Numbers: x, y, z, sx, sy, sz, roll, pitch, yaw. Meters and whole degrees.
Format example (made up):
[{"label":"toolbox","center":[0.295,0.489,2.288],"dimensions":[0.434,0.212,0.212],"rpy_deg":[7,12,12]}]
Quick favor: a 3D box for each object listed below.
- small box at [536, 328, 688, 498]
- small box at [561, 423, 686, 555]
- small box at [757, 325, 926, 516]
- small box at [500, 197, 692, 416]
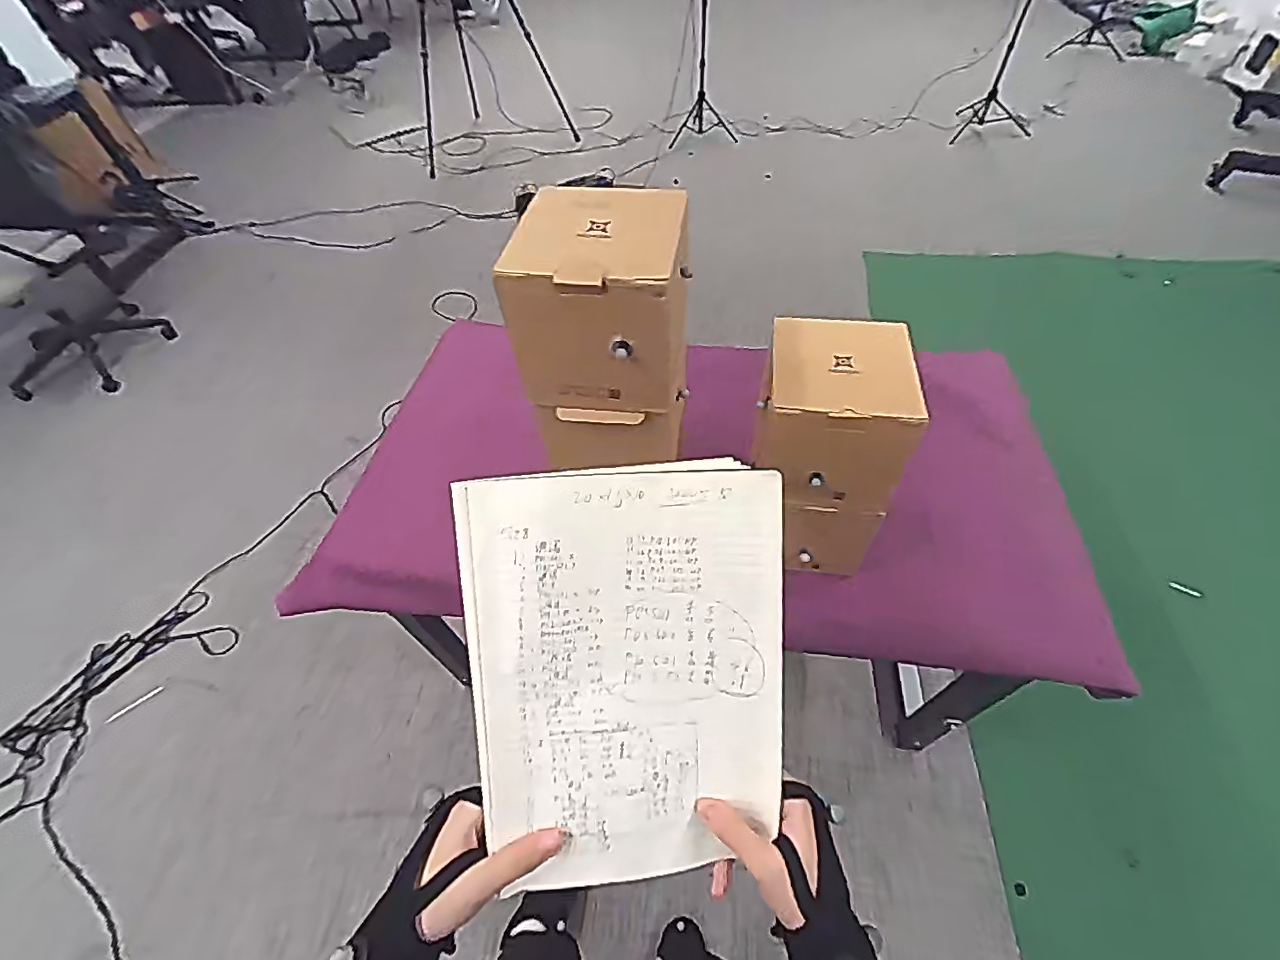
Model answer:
[{"label":"small box","center":[-0.025,-0.094,0.736],"dimensions":[0.168,0.176,0.179],"rpy_deg":[5,51,8]},{"label":"small box","center":[-0.016,0.004,0.869],"dimensions":[0.168,0.176,0.179],"rpy_deg":[5,53,8]},{"label":"small box","center":[0.246,-0.077,0.706],"dimensions":[0.168,0.176,0.179],"rpy_deg":[5,52,8]},{"label":"small box","center":[-0.034,-0.191,0.605],"dimensions":[0.168,0.176,0.179],"rpy_deg":[6,52,8]}]
